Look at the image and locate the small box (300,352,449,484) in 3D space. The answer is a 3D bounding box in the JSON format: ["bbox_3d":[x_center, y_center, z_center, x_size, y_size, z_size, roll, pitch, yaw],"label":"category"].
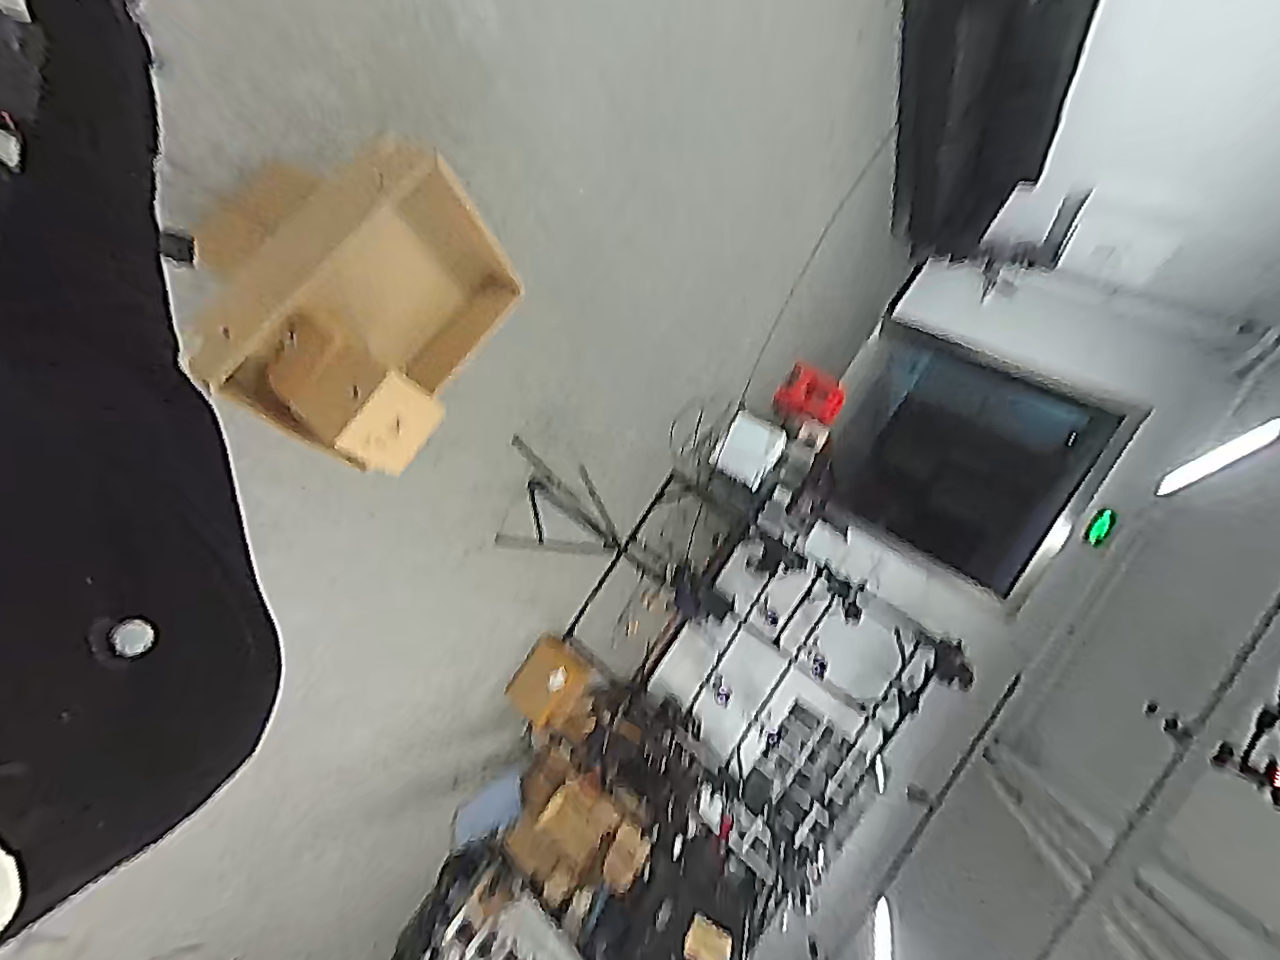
[{"bbox_3d":[-0.532,-0.125,1.083,0.179,0.176,0.168,-54,153,-6],"label":"small box"}]
